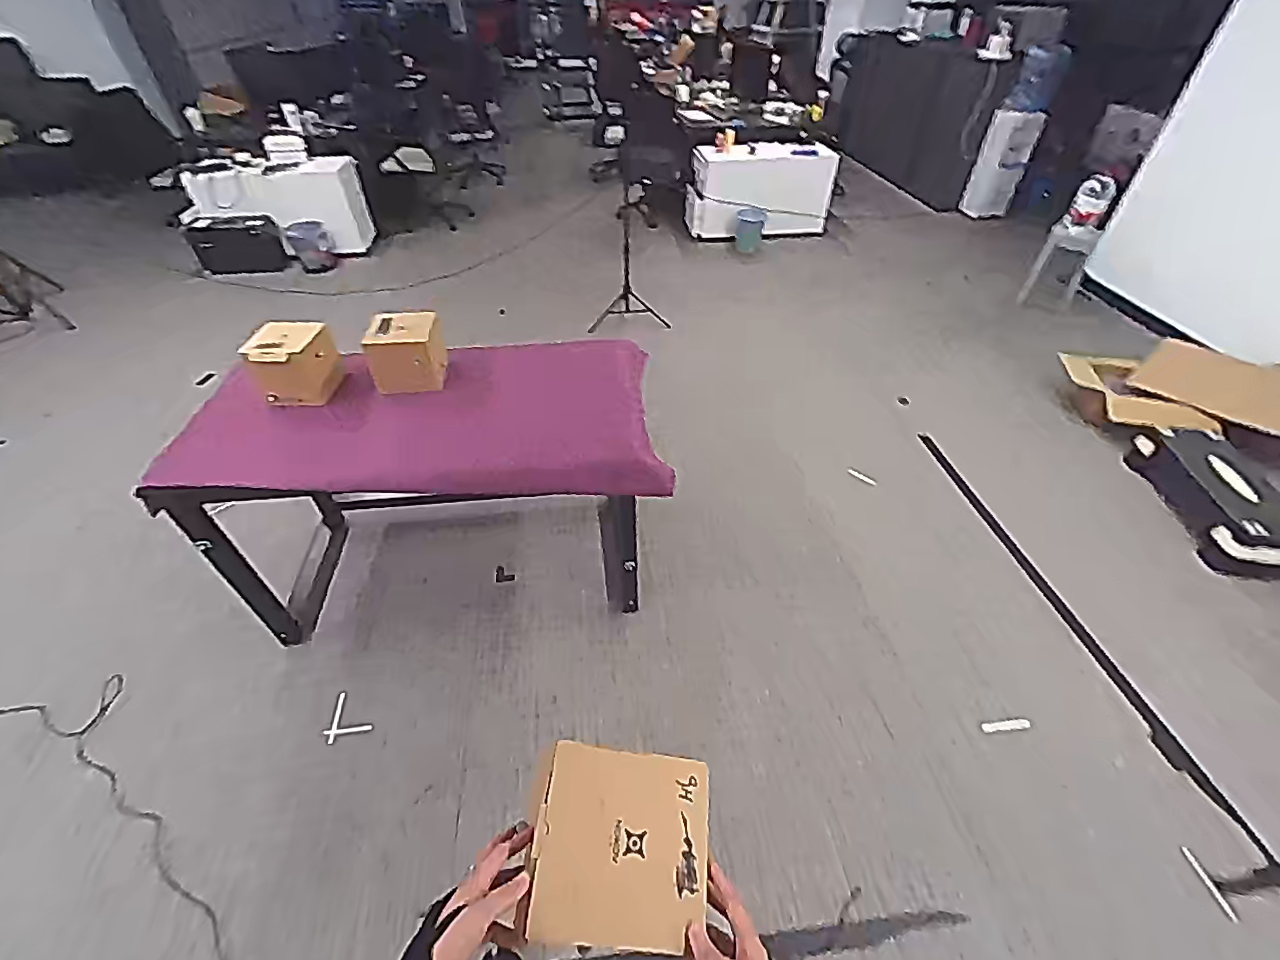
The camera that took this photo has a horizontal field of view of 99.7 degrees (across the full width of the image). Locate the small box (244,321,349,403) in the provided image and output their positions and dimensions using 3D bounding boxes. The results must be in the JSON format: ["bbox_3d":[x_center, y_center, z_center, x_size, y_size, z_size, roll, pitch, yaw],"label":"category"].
[{"bbox_3d":[-0.959,-0.333,1.531,0.168,0.176,0.179,0,44,-1],"label":"small box"}]
